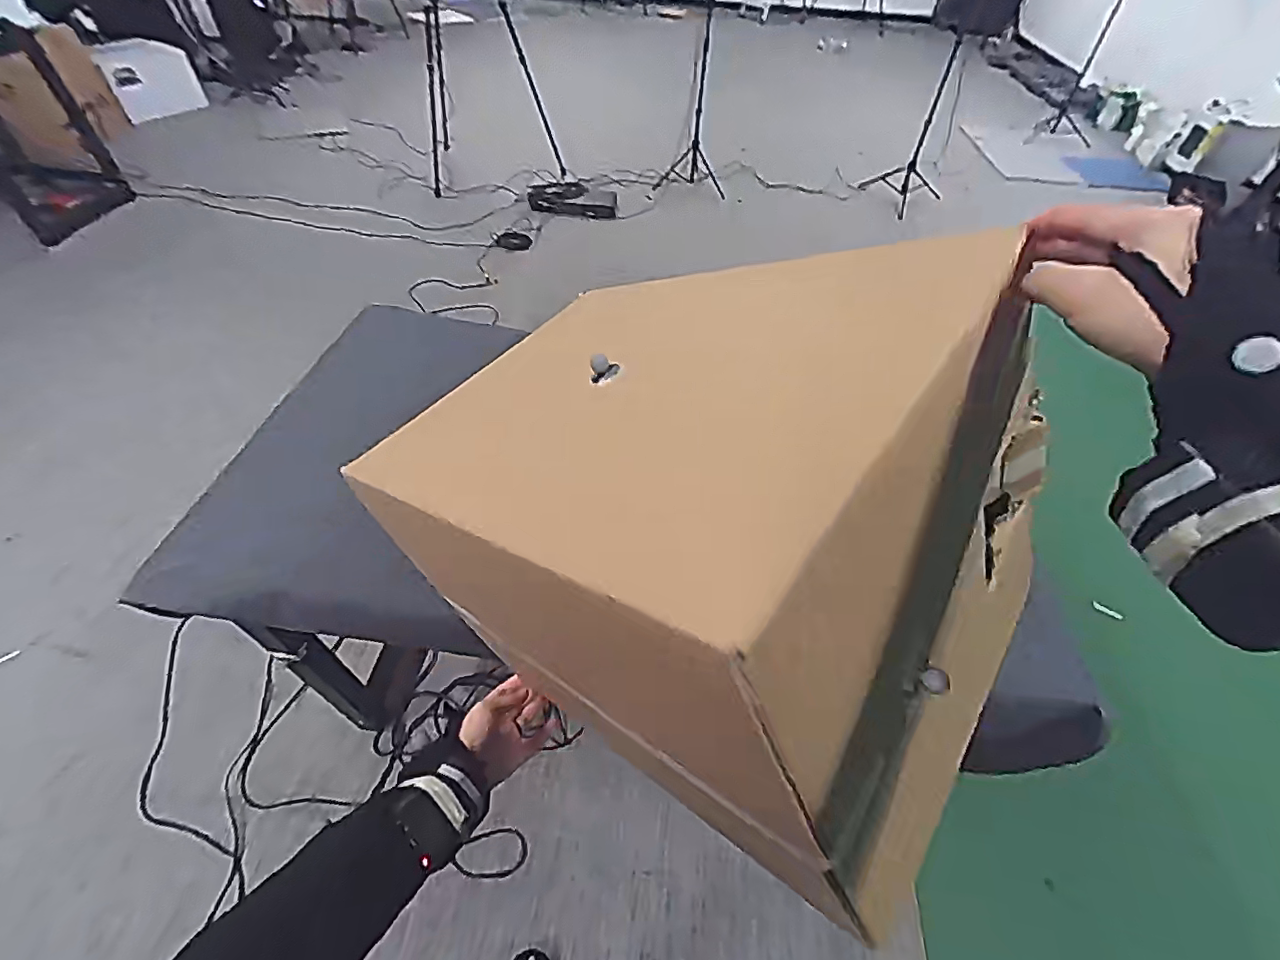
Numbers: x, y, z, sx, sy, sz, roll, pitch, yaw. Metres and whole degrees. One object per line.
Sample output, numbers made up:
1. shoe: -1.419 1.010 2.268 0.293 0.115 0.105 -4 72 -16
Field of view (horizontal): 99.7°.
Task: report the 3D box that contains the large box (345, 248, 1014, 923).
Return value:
1. large box: 0.041 0.046 0.455 0.408 0.320 0.320 11 48 43
